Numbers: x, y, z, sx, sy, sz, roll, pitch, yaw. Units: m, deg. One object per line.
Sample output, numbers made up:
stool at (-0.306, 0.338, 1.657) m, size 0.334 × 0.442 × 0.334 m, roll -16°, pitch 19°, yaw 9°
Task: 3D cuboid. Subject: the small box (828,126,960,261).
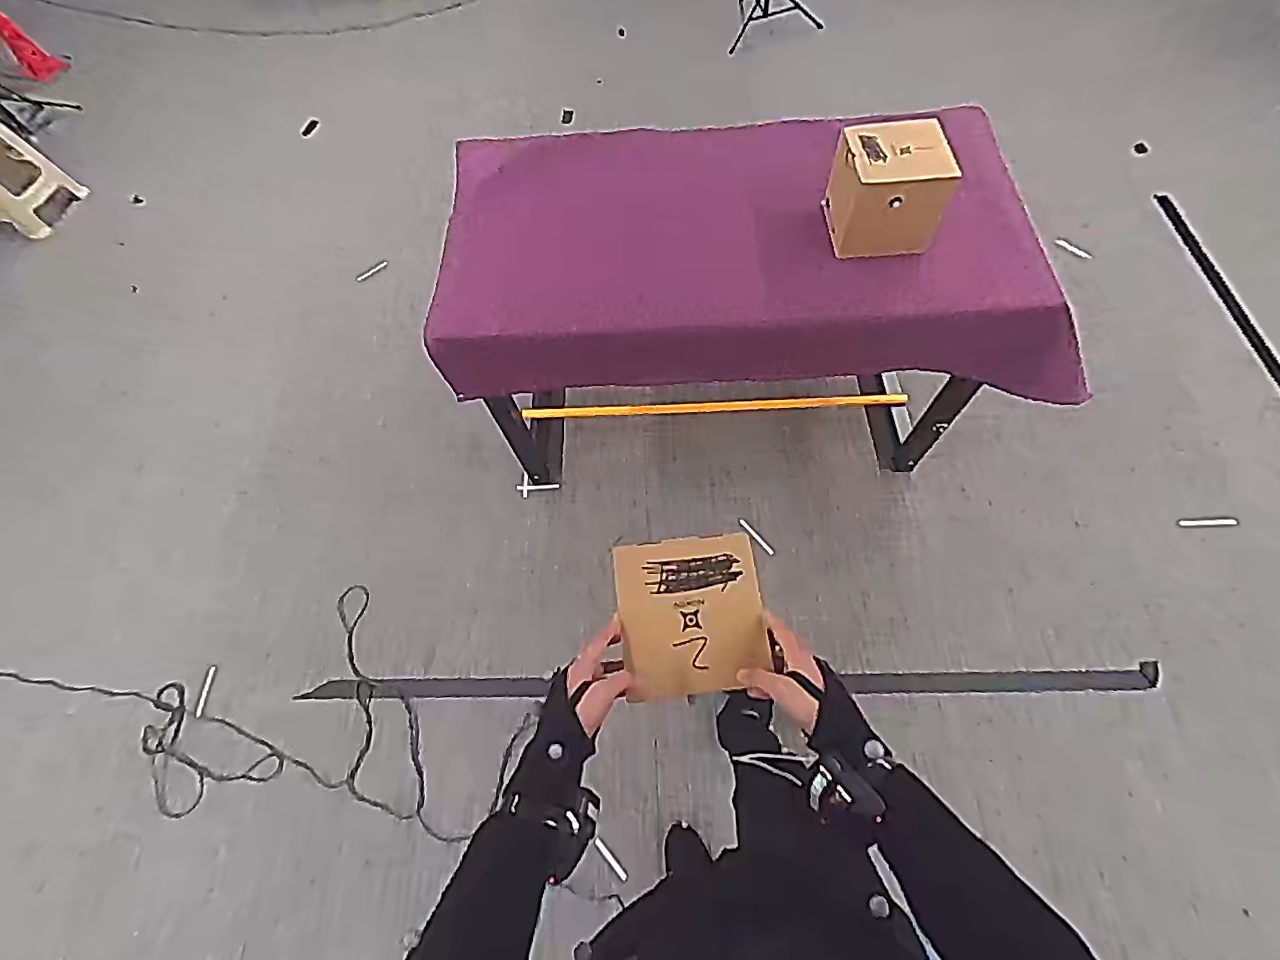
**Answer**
small box at (0.473, -0.545, 1.045) m, size 0.179 × 0.176 × 0.168 m, roll -3°, pitch 64°, yaw 3°
